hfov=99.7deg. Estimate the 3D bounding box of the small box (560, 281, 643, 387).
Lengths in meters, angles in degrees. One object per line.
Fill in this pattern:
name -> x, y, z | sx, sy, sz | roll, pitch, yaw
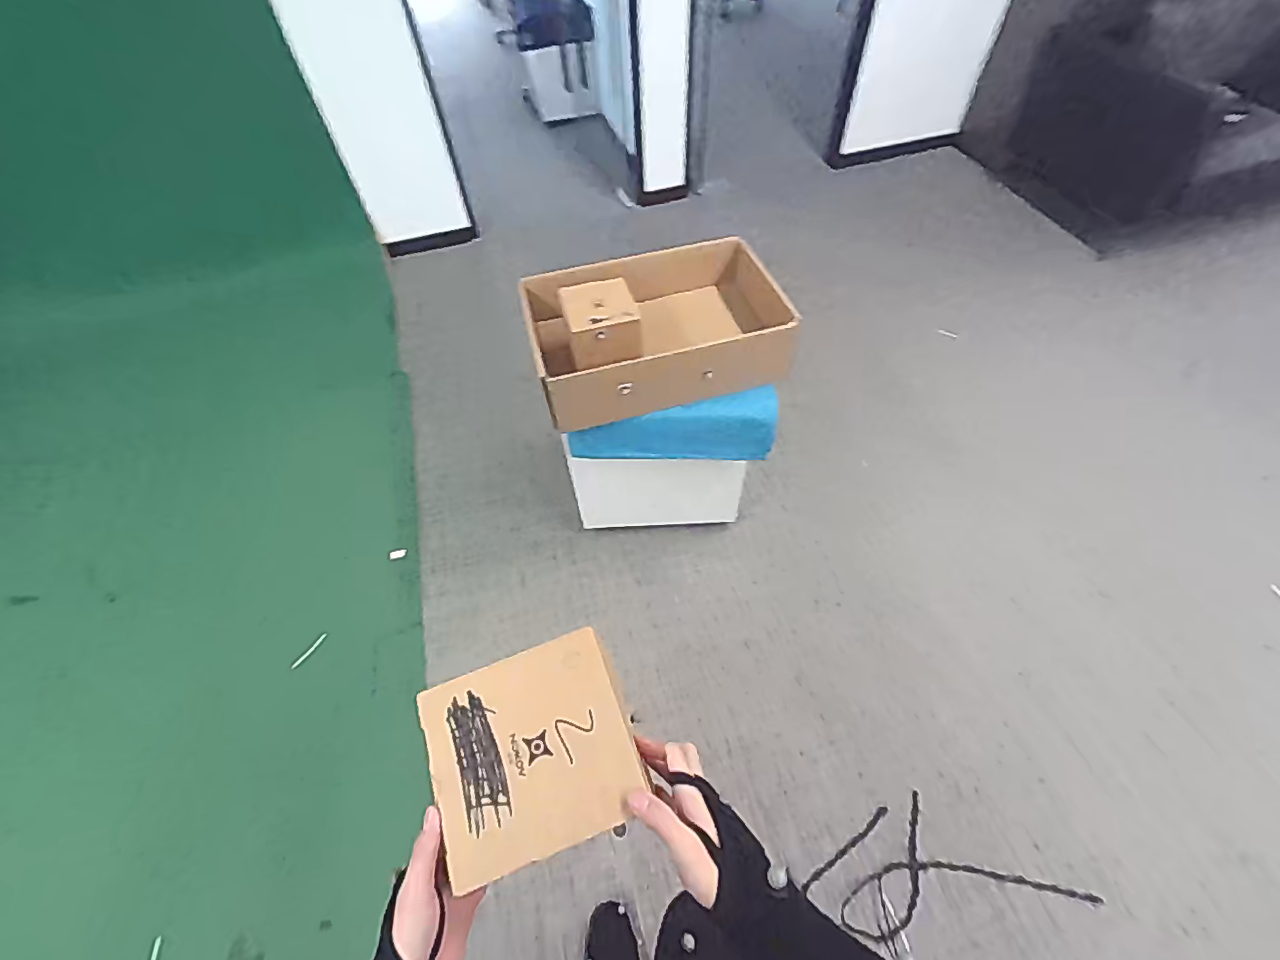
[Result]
small box -> -0.093, -0.359, 1.335 | 0.168, 0.176, 0.179 | -14, 53, -7
